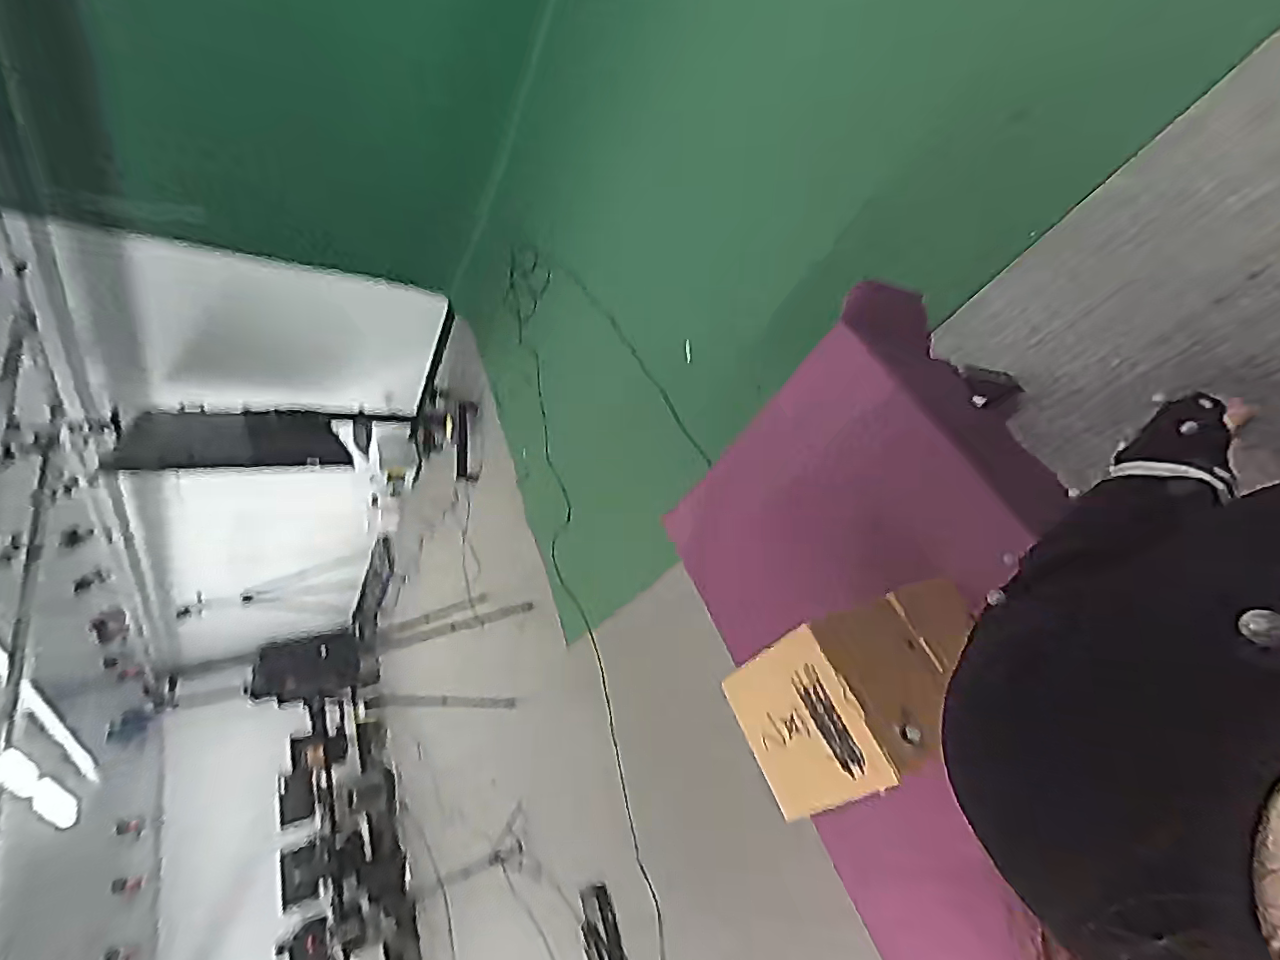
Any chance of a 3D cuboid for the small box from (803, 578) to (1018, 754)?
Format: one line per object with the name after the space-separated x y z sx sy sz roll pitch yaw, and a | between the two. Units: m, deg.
0.373 0.254 0.756 0.179 0.176 0.168 -51 53 41 | small box
